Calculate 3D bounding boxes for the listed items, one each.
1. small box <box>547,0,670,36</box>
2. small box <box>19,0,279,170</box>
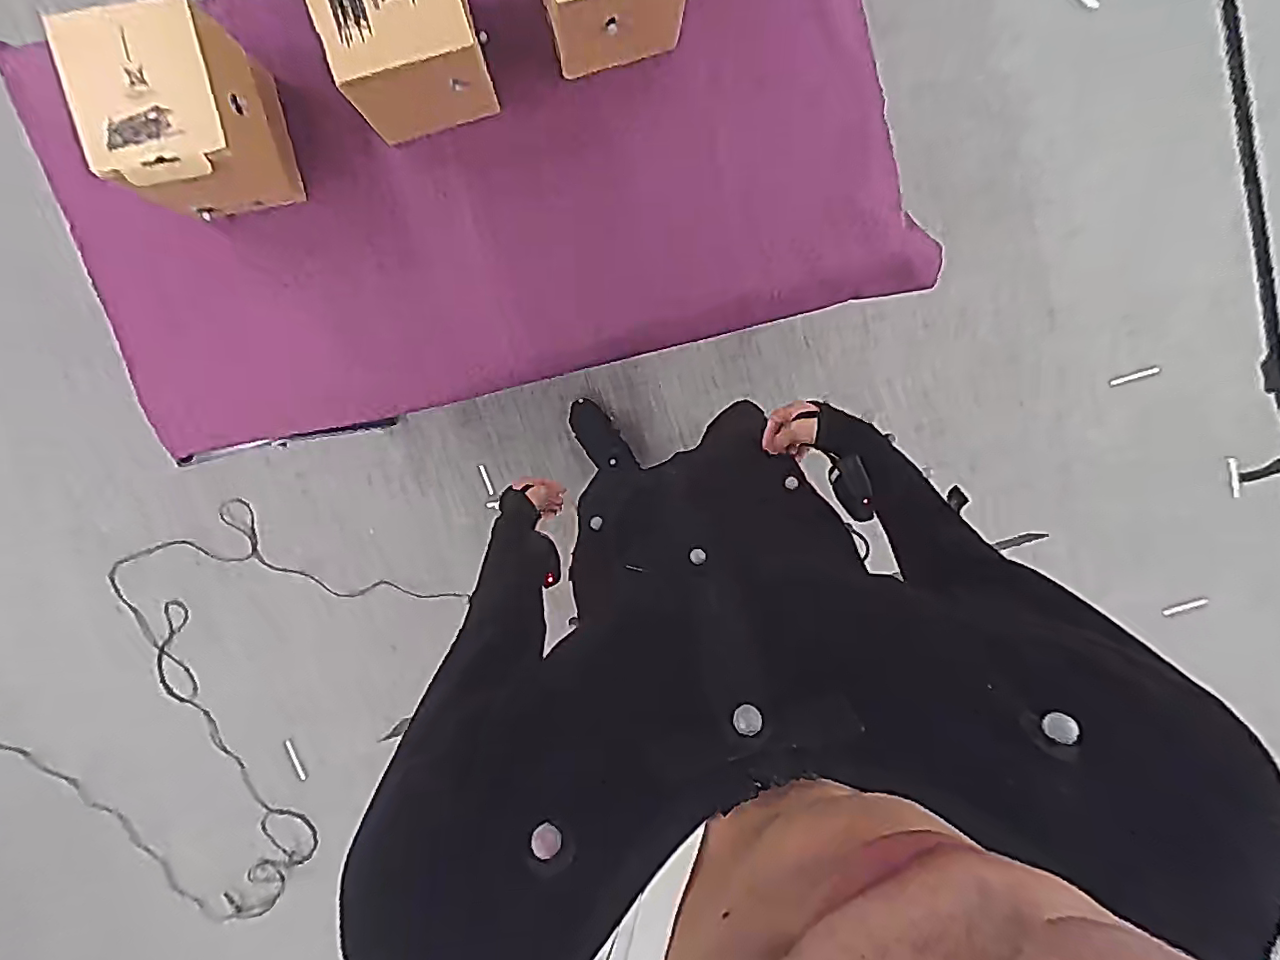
[{"bbox_3d":[-0.052,-0.706,0.676,0.179,0.176,0.168,-15,103,1],"label":"small box"},{"bbox_3d":[-0.599,-0.516,0.682,0.168,0.176,0.179,-10,100,-2],"label":"small box"}]
